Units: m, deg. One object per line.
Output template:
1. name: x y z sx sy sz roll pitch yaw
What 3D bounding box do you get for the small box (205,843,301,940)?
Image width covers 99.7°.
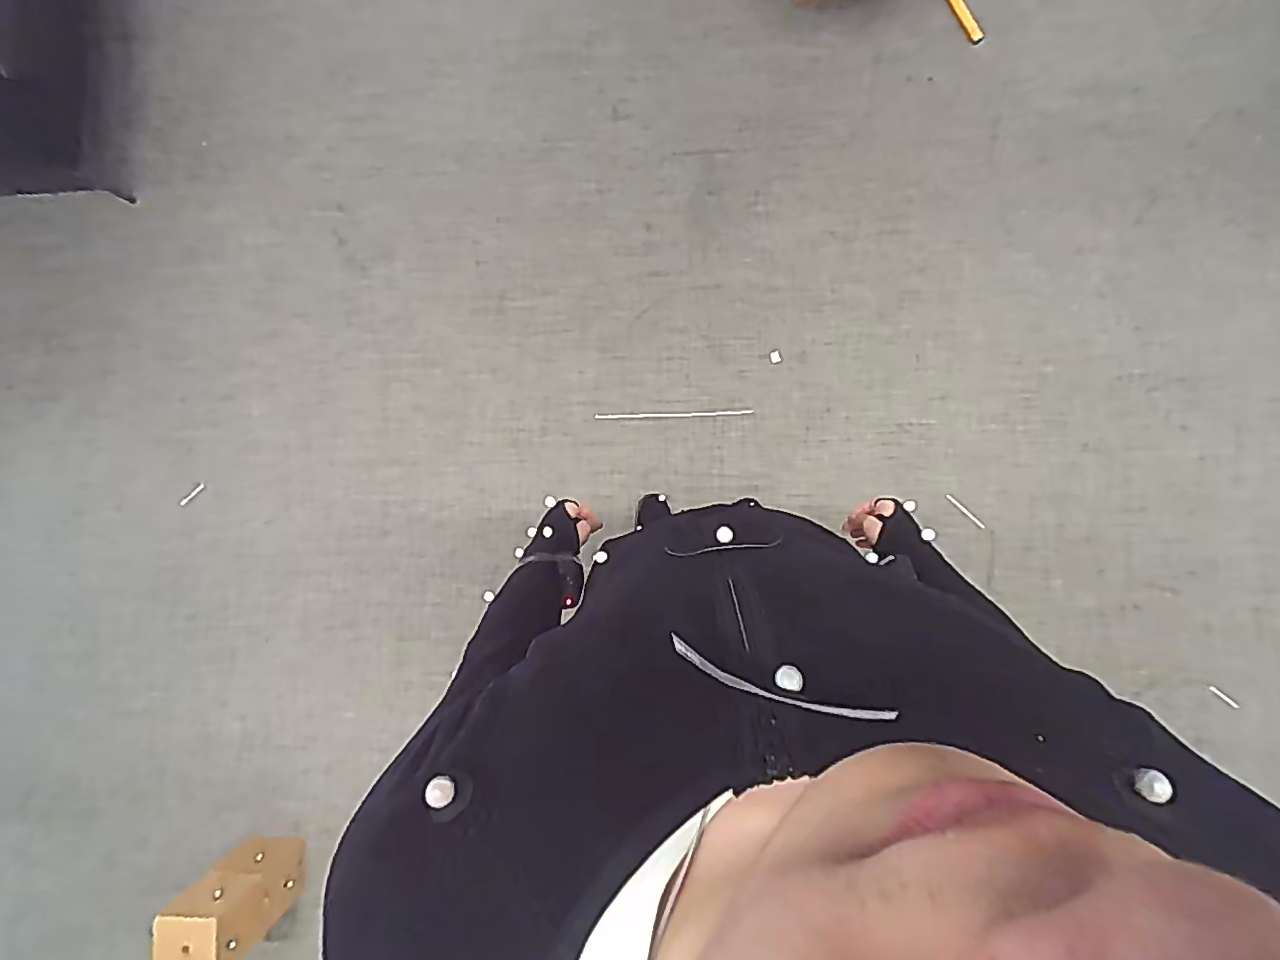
1. small box: -1.125 1.192 1.577 0.179 0.176 0.168 0 87 3

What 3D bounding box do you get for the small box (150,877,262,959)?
1. small box: -1.128 1.181 1.415 0.168 0.176 0.179 -1 88 3
